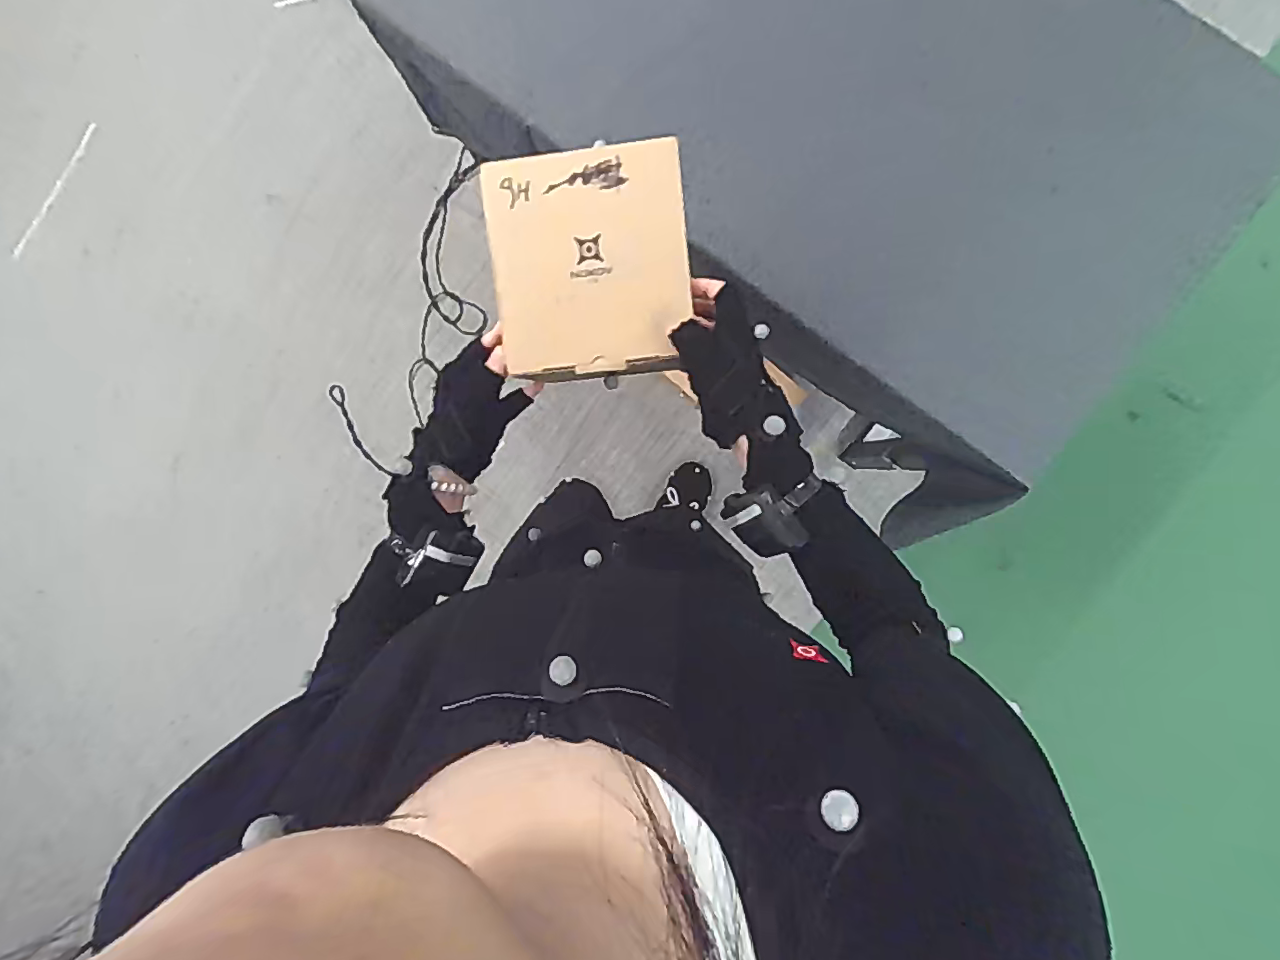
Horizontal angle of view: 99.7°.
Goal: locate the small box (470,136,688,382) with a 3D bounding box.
[{"bbox_3d":[-0.043,-0.190,0.519,0.168,0.176,0.179,-6,99,3],"label":"small box"}]
